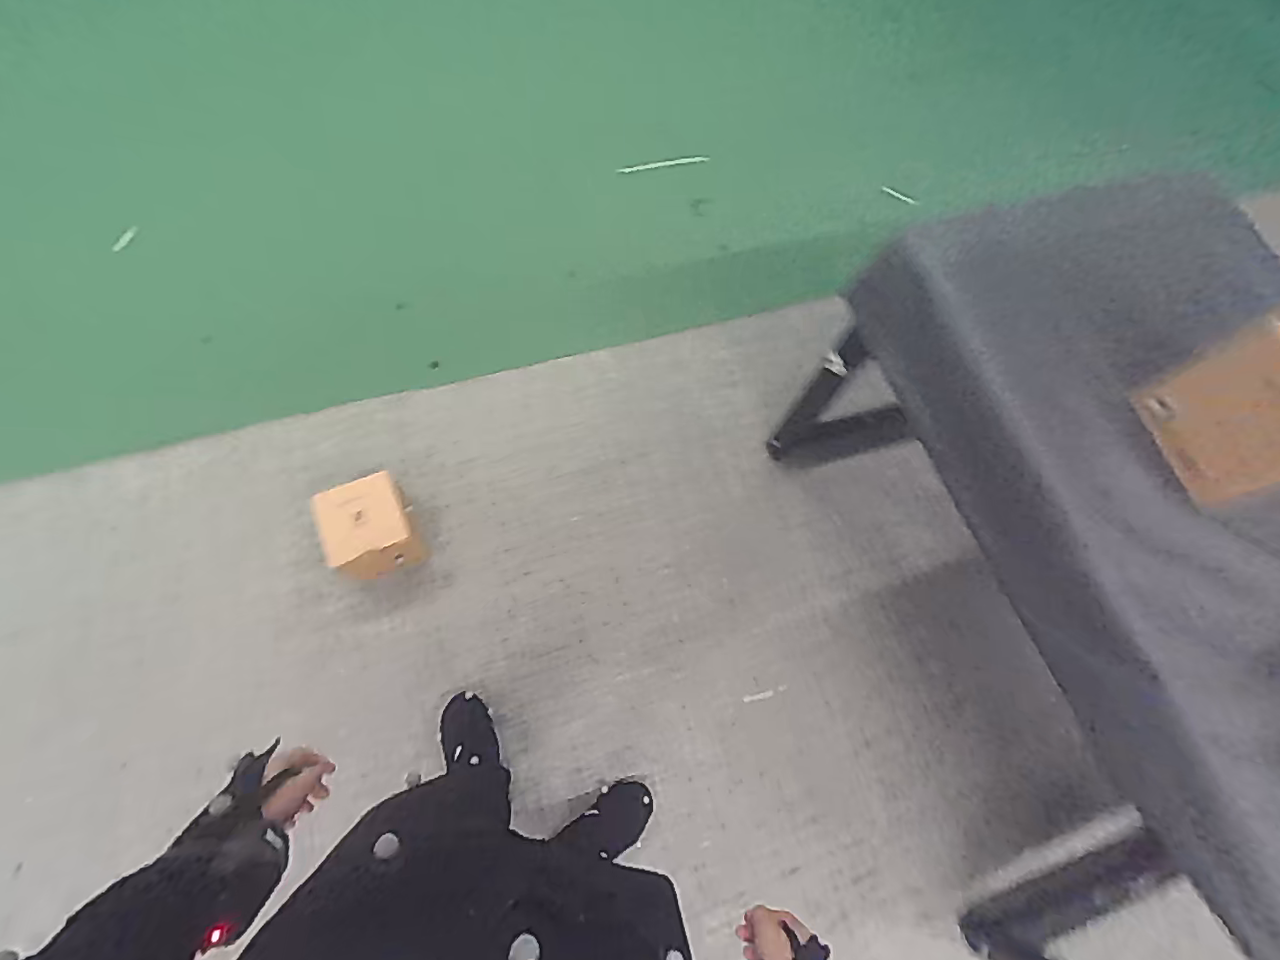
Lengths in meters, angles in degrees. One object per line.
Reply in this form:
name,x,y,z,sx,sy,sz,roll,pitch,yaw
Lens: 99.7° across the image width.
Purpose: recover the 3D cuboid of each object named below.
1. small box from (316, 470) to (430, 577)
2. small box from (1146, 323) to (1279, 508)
small box,-0.596,0.108,1.228,0.168,0.176,0.179,-21,71,-14
small box,0.768,-0.078,0.643,0.179,0.176,0.168,-11,70,-10
